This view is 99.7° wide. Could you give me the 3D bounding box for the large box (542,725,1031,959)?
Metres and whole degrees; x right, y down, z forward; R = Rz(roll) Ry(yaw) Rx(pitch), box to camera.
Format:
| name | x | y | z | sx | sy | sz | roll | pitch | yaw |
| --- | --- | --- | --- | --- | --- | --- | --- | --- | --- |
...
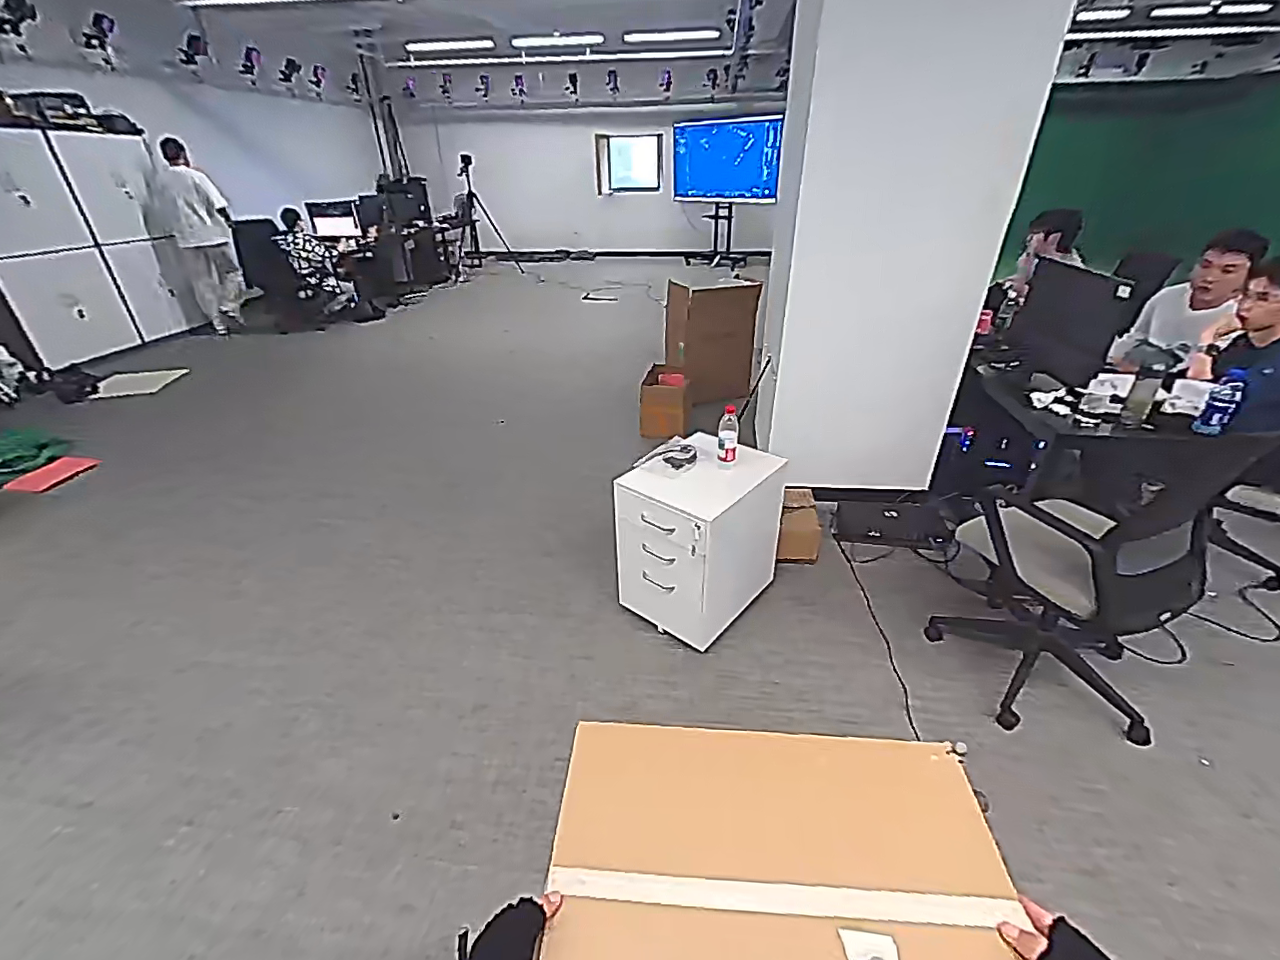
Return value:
| name | x | y | z | sx | sy | sz | roll | pitch | yaw |
| --- | --- | --- | --- | --- | --- | --- | --- | --- | --- |
| large box | 0.122 | 0.491 | 0.556 | 0.408 | 0.320 | 0.320 | 2 | 33 | 4 |
